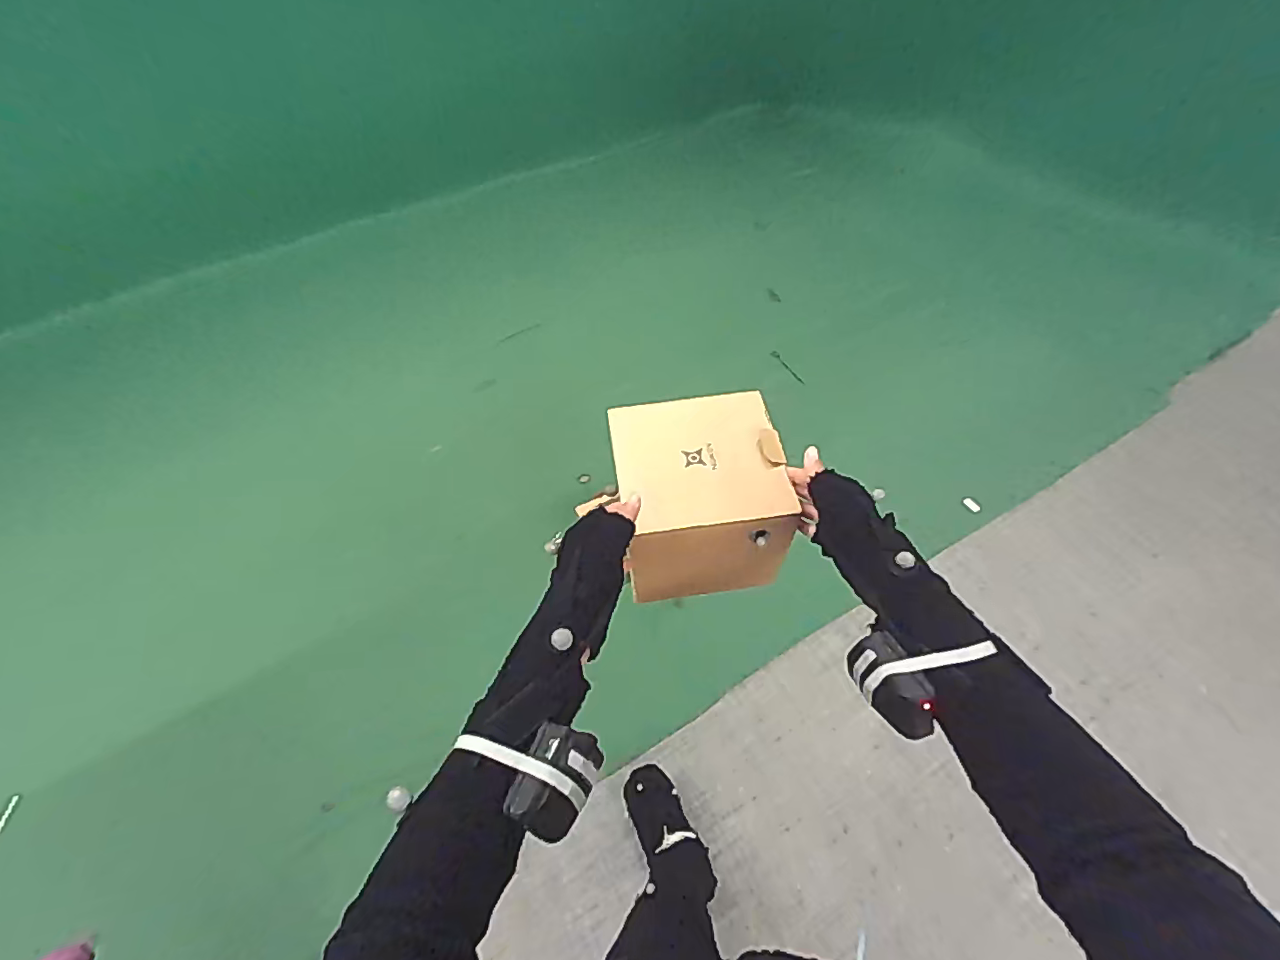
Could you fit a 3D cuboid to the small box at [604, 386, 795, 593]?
[{"bbox_3d":[0.059,0.017,0.628,0.179,0.176,0.168,-8,55,-3],"label":"small box"}]
